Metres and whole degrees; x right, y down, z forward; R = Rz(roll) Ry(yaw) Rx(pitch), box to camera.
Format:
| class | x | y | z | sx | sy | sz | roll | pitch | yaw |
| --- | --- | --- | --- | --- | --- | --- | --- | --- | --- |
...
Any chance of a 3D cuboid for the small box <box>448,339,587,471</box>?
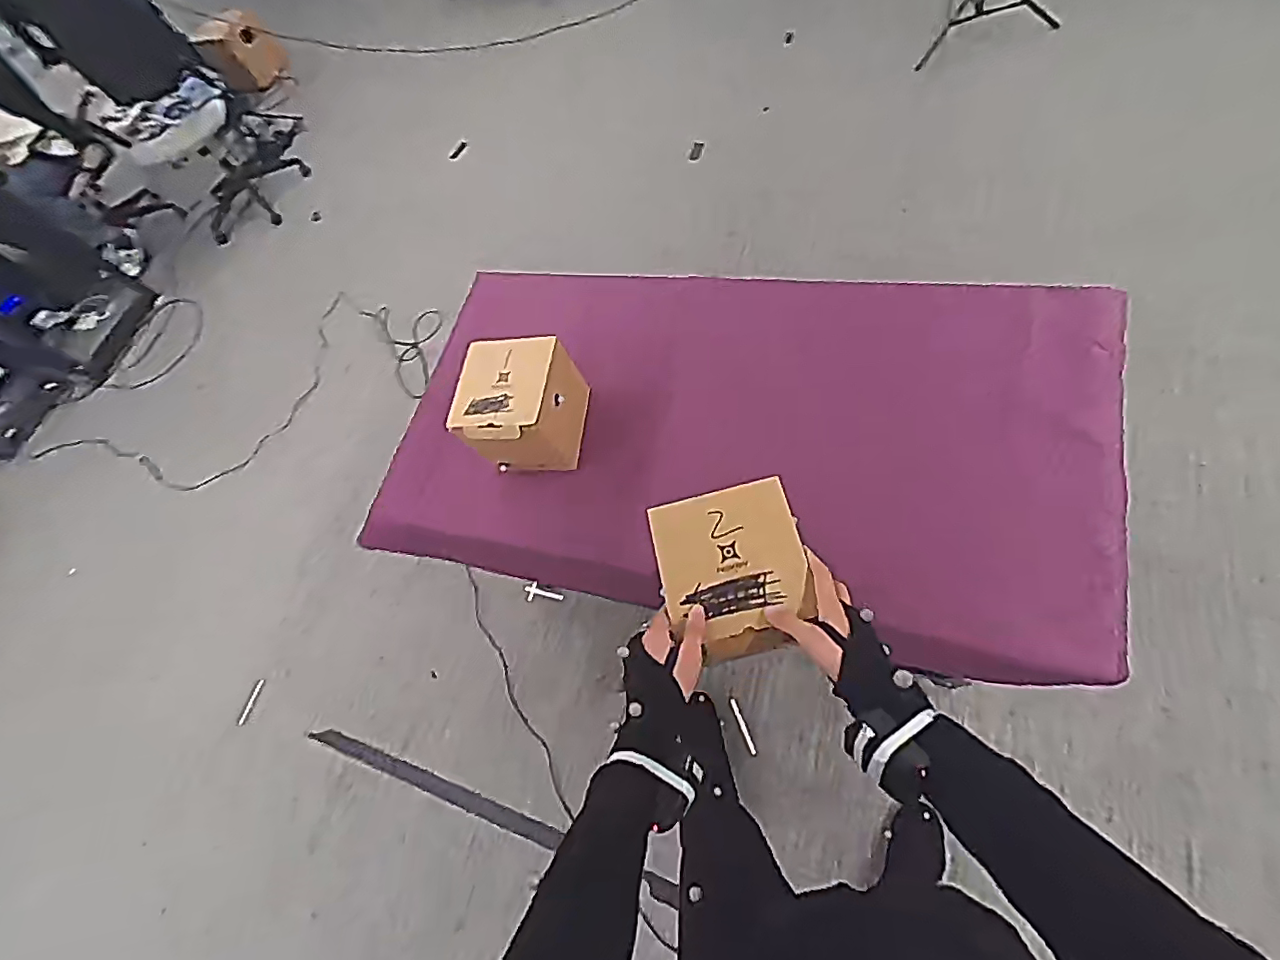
| class | x | y | z | sx | sy | sz | roll | pitch | yaw |
| --- | --- | --- | --- | --- | --- | --- | --- | --- | --- |
| small box | -0.204 | -0.123 | 0.955 | 0.168 | 0.176 | 0.179 | 0 | 66 | 16 |
